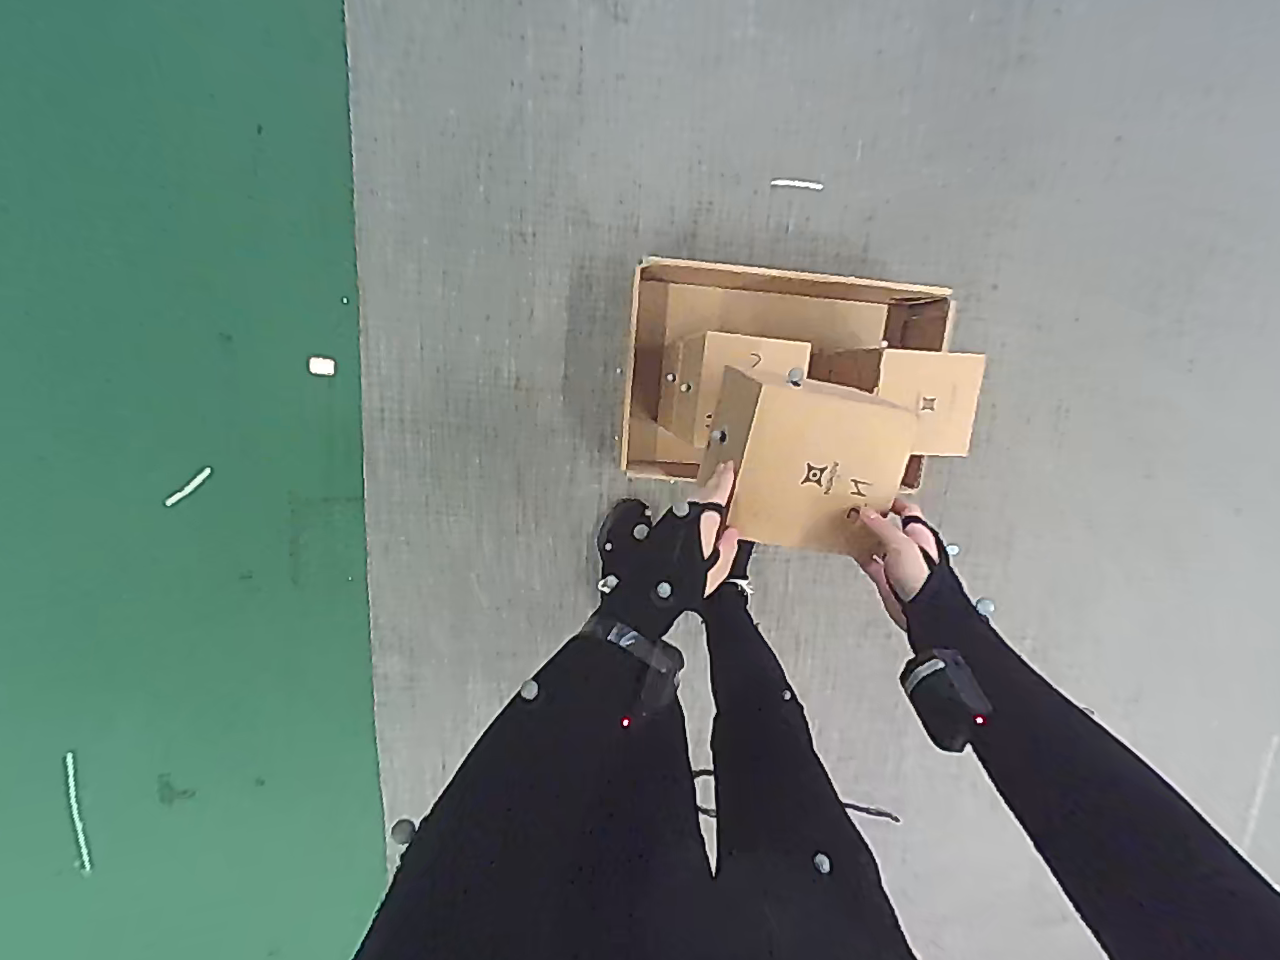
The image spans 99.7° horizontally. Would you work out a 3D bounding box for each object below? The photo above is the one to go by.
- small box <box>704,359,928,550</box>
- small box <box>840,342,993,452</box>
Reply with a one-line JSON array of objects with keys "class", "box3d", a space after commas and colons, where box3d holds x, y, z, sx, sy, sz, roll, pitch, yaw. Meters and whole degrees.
[{"class": "small box", "box3d": [0.183, -0.039, 0.628, 0.179, 0.176, 0.168, 9, 108, -7]}, {"class": "small box", "box3d": [0.450, -0.144, 0.923, 0.179, 0.176, 0.168, 2, 103, -7]}]
